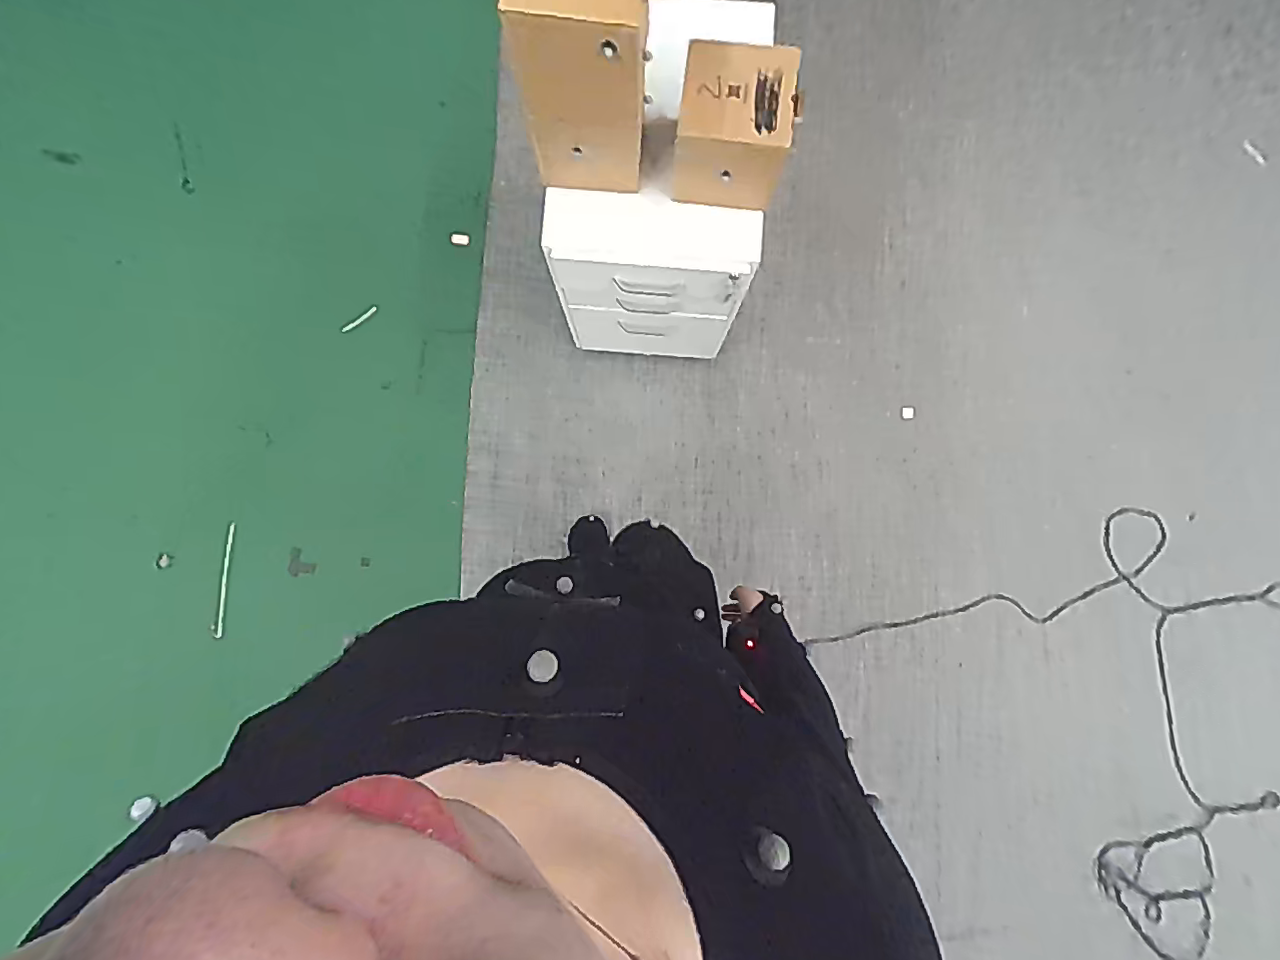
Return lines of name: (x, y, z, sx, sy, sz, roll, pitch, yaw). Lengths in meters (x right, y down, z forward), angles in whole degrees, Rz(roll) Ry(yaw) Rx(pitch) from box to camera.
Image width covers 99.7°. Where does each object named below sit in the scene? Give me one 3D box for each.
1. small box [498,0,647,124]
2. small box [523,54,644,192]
small box: (-0.083, -0.630, 0.744, 0.179, 0.176, 0.168, 6, 84, -3)
small box: (-0.087, -0.612, 0.906, 0.179, 0.176, 0.168, 4, 85, -1)
